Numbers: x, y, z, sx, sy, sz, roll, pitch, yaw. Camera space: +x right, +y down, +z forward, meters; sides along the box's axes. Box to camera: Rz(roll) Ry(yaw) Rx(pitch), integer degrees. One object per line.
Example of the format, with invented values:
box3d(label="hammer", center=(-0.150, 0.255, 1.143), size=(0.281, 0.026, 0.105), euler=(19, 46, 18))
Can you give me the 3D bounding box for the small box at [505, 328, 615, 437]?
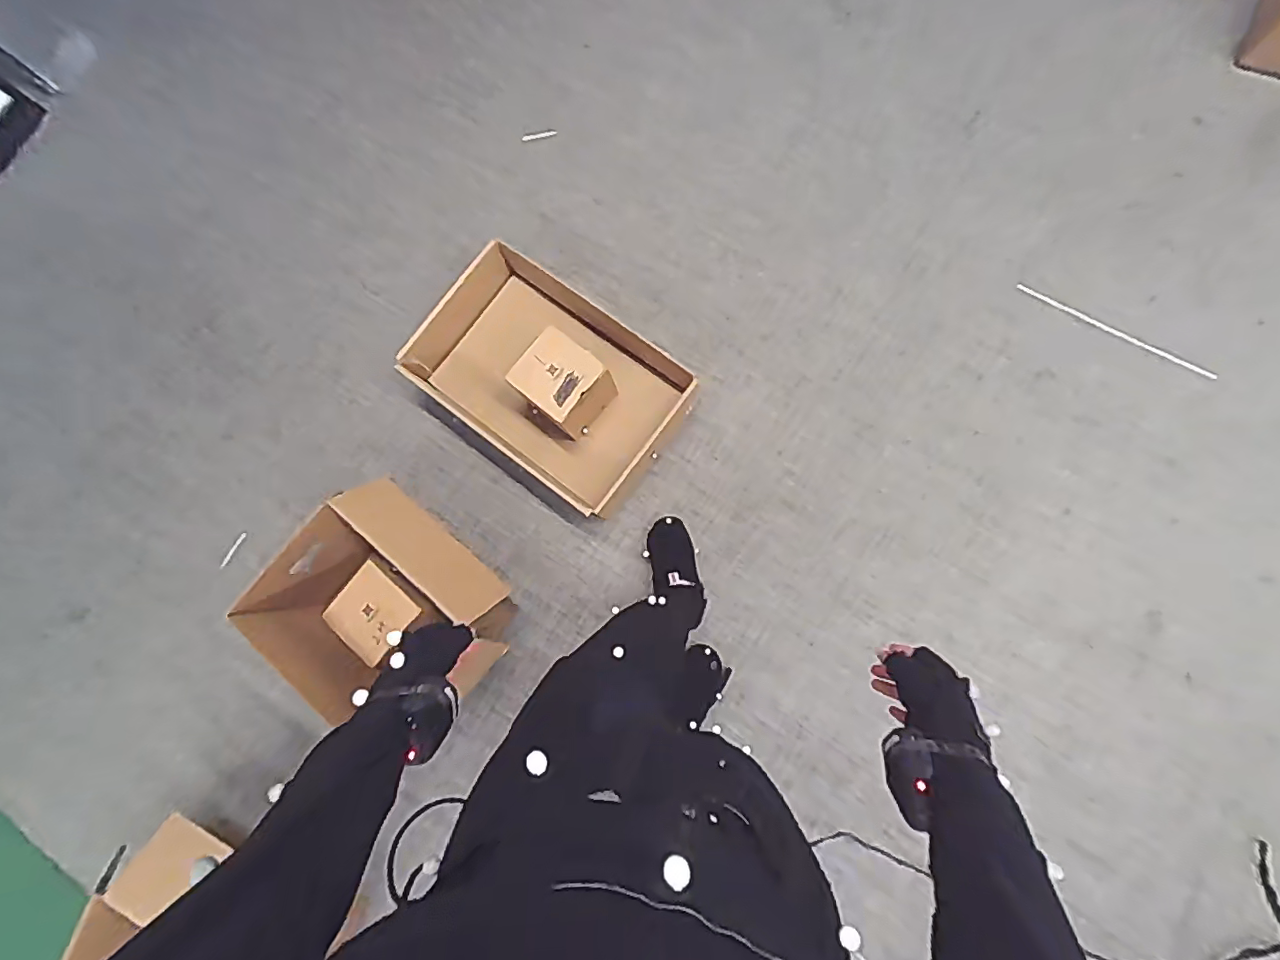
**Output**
box3d(label="small box", center=(-0.179, -0.219, 1.281), size=(0.179, 0.176, 0.168), euler=(39, 86, 12))
